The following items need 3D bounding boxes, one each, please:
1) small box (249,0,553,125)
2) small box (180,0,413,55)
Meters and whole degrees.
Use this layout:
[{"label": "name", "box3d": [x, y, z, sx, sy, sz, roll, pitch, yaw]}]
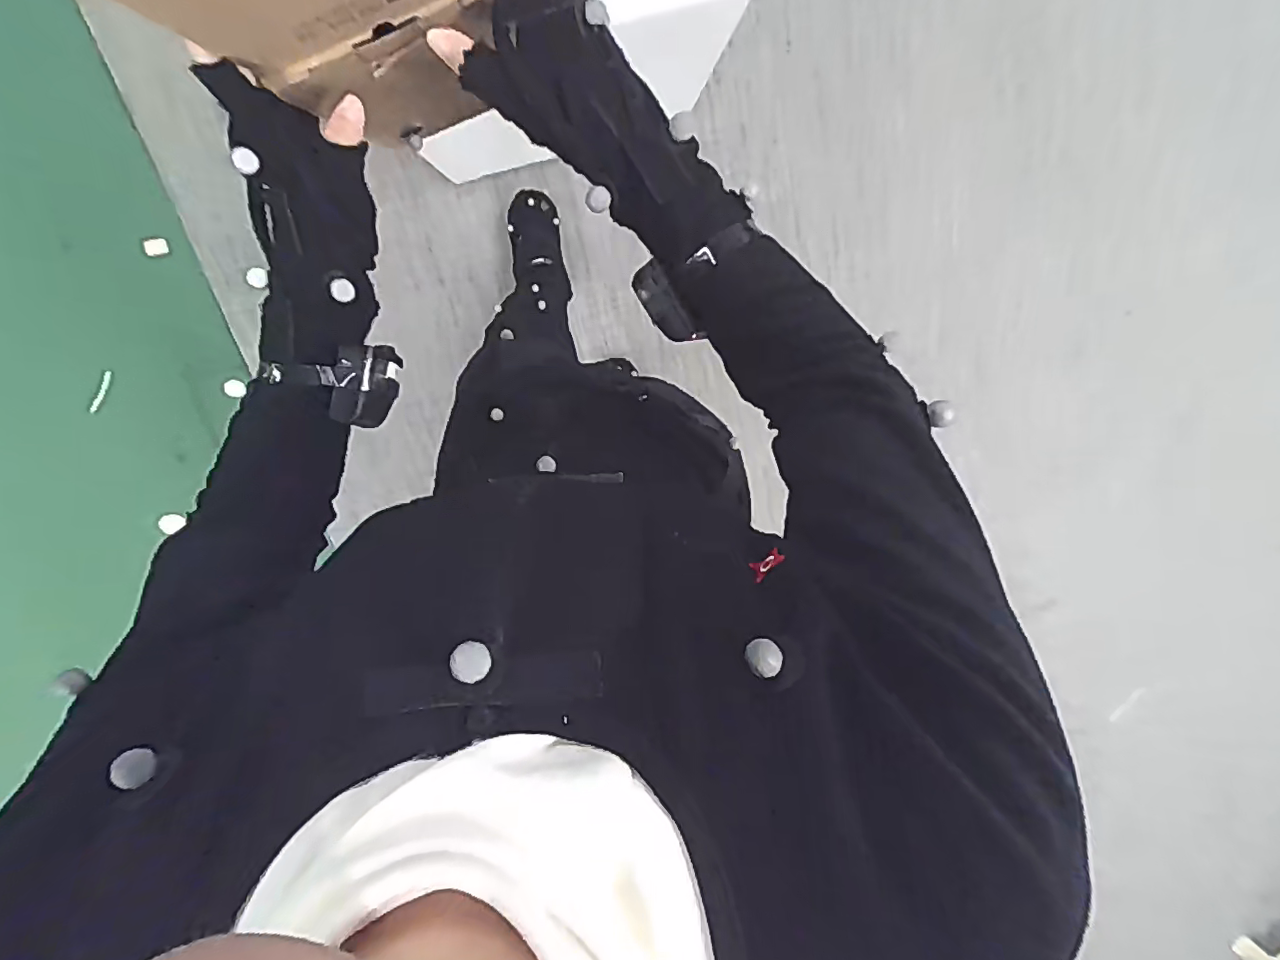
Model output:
[{"label": "small box", "box3d": [-0.175, -0.376, 0.372, 0.168, 0.176, 0.179, -17, 108, 9]}, {"label": "small box", "box3d": [-0.184, -0.327, 0.216, 0.168, 0.176, 0.179, -15, 108, 9]}]
